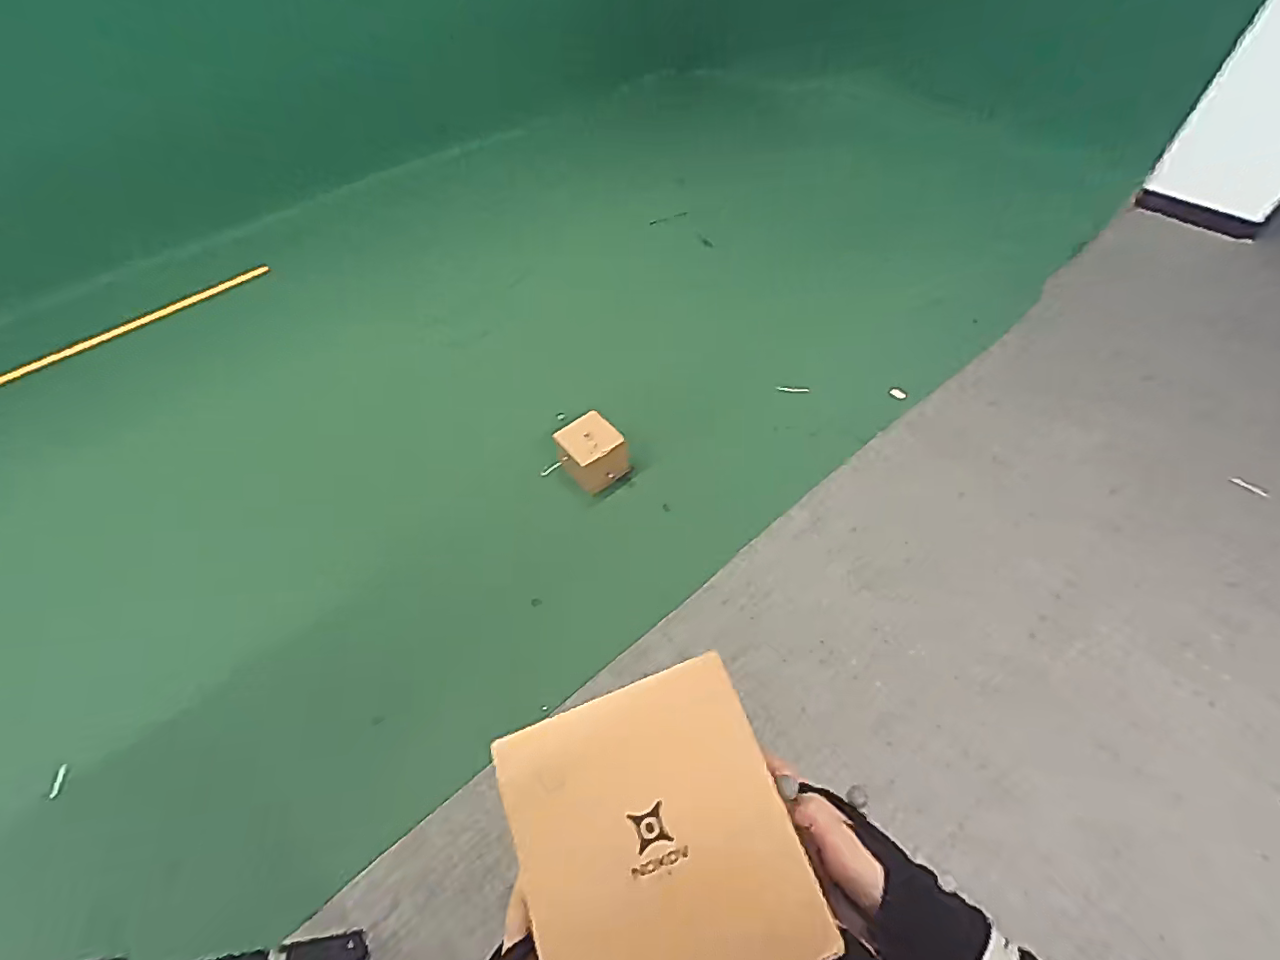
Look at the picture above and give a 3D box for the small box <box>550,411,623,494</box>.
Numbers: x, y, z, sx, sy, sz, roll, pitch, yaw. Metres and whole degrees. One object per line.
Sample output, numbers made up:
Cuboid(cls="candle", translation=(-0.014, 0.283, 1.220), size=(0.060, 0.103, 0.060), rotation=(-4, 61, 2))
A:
Cuboid(cls="small box", translation=(-0.172, -0.088, 1.771), size=(0.168, 0.176, 0.179), rotation=(-34, 59, -20))
